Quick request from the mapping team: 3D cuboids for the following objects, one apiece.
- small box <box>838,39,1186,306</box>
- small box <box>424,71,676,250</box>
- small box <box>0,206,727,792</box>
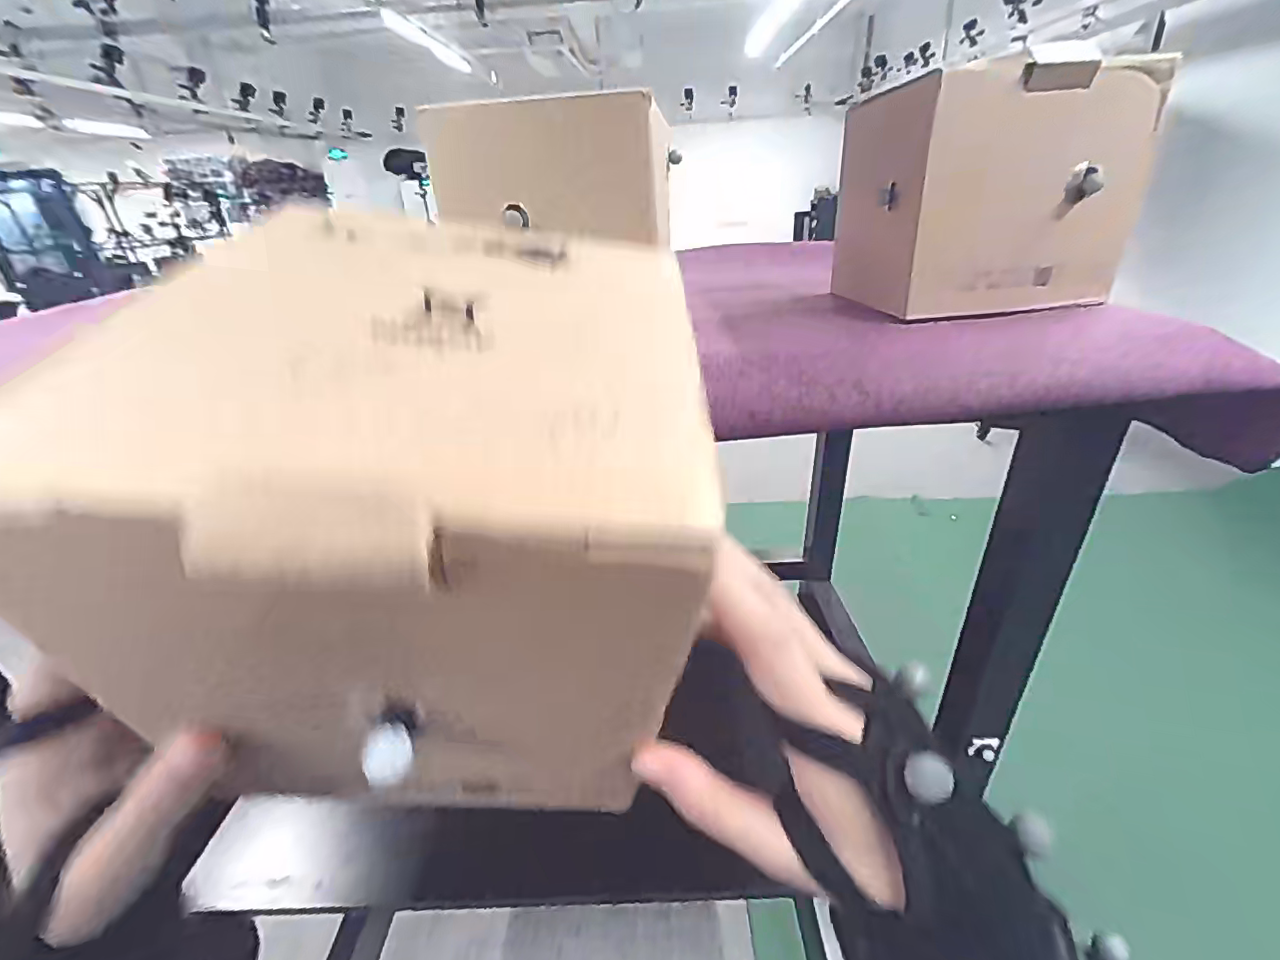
[{"bbox_3d":[0.286,-0.248,0.468,0.168,0.176,0.179,-3,26,0],"label":"small box"},{"bbox_3d":[-0.056,-0.227,0.470,0.168,0.176,0.179,0,26,6],"label":"small box"},{"bbox_3d":[-0.070,0.011,0.225,0.168,0.176,0.179,5,43,-6],"label":"small box"}]
